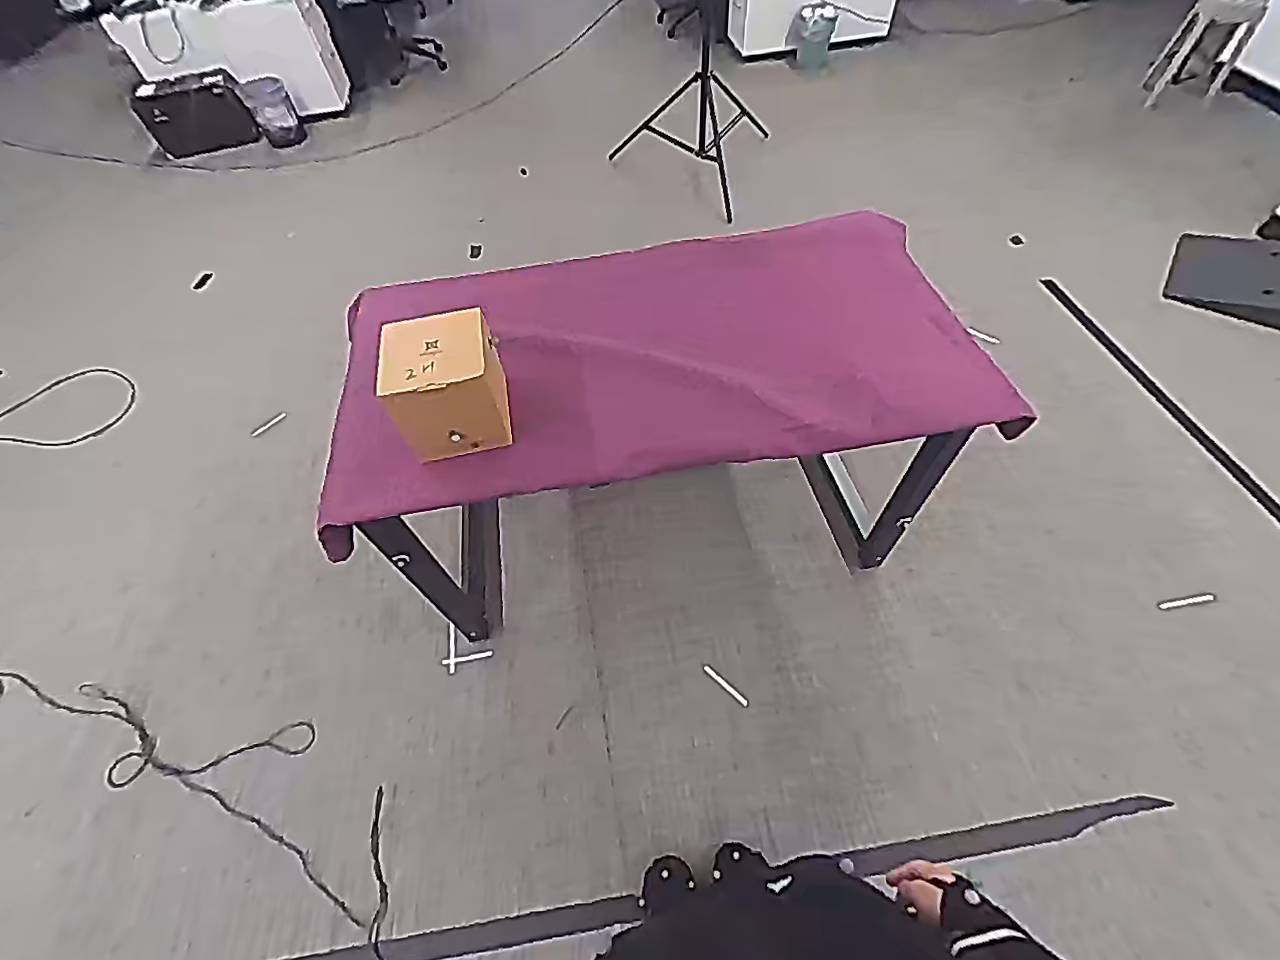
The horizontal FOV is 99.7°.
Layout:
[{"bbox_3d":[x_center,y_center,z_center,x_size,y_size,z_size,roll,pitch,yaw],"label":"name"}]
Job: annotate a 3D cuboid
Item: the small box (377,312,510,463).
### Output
[{"bbox_3d":[-0.329,-0.157,0.933,0.168,0.176,0.179,-12,55,-4],"label":"small box"}]
